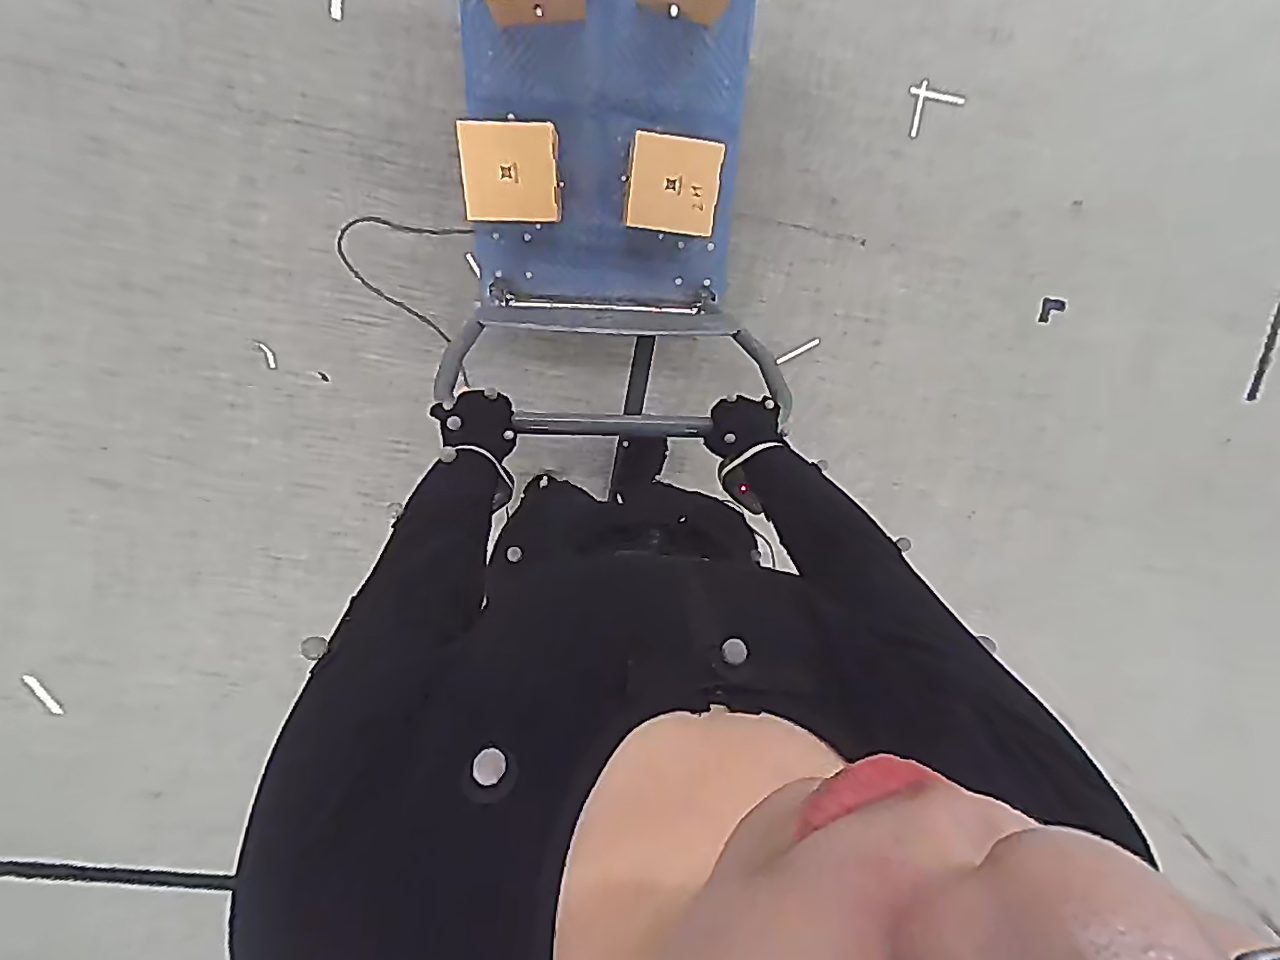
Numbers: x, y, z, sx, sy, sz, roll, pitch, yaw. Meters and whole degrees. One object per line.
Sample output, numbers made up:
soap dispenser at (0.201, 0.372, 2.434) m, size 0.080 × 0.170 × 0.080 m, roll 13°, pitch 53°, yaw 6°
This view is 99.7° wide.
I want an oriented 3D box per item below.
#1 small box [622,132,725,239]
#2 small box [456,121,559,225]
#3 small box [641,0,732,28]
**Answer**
small box at (0.059, -0.601, 1.122) m, size 0.179 × 0.176 × 0.168 m, roll 5°, pitch 115°, yaw -8°
small box at (-0.256, -0.608, 1.089) m, size 0.179 × 0.176 × 0.168 m, roll -2°, pitch 115°, yaw -6°
small box at (0.096, -0.956, 0.960) m, size 0.168 × 0.176 × 0.179 m, roll 11°, pitch 115°, yaw -10°
